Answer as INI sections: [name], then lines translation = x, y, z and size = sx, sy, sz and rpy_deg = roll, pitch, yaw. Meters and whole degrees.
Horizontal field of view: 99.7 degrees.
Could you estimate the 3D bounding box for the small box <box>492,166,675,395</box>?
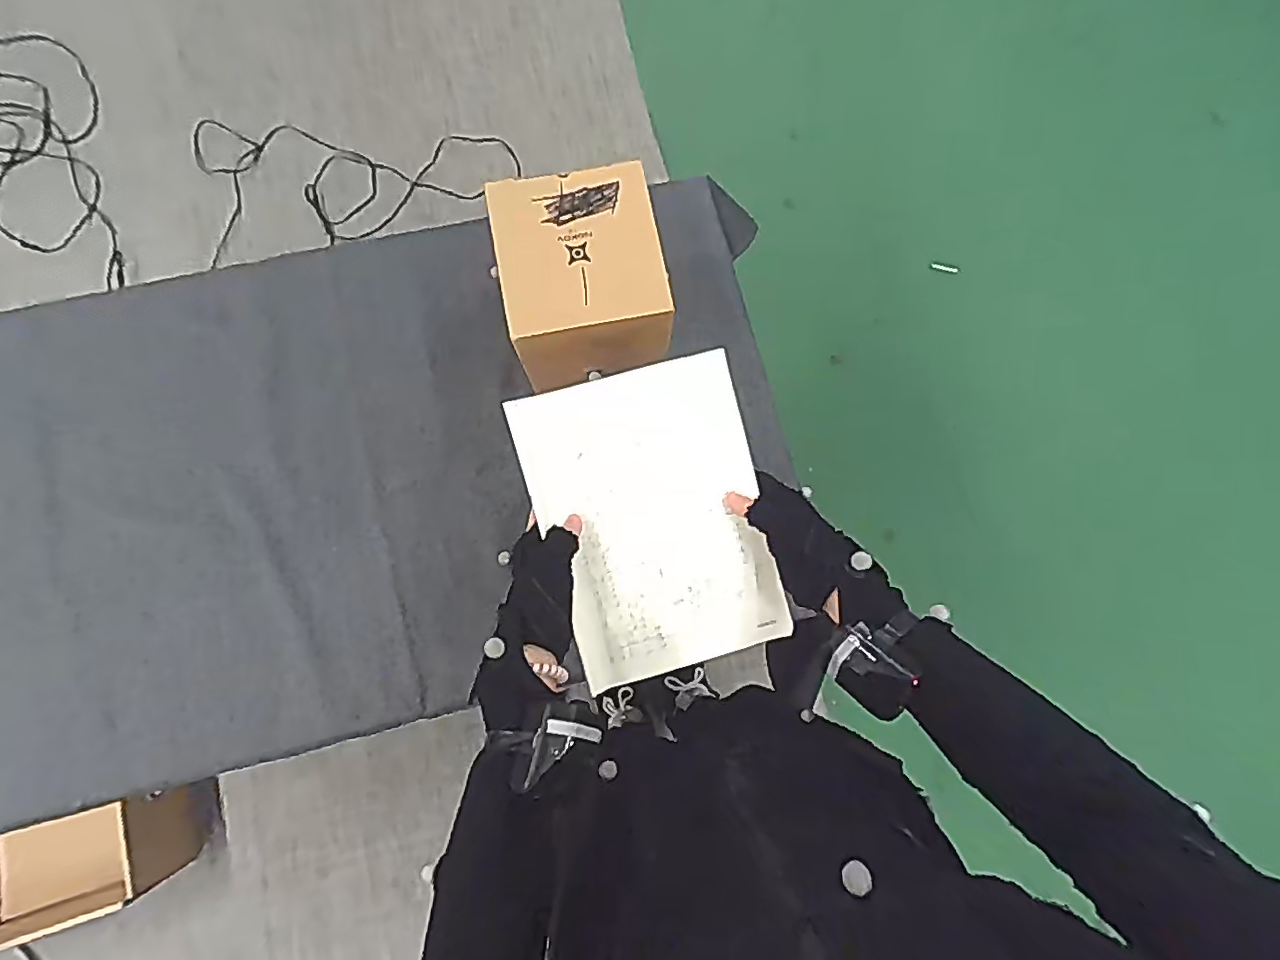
[small box]
translation = -0.062, -0.218, 0.624
size = 0.168, 0.176, 0.179
rpy_deg = -11, 80, -3
